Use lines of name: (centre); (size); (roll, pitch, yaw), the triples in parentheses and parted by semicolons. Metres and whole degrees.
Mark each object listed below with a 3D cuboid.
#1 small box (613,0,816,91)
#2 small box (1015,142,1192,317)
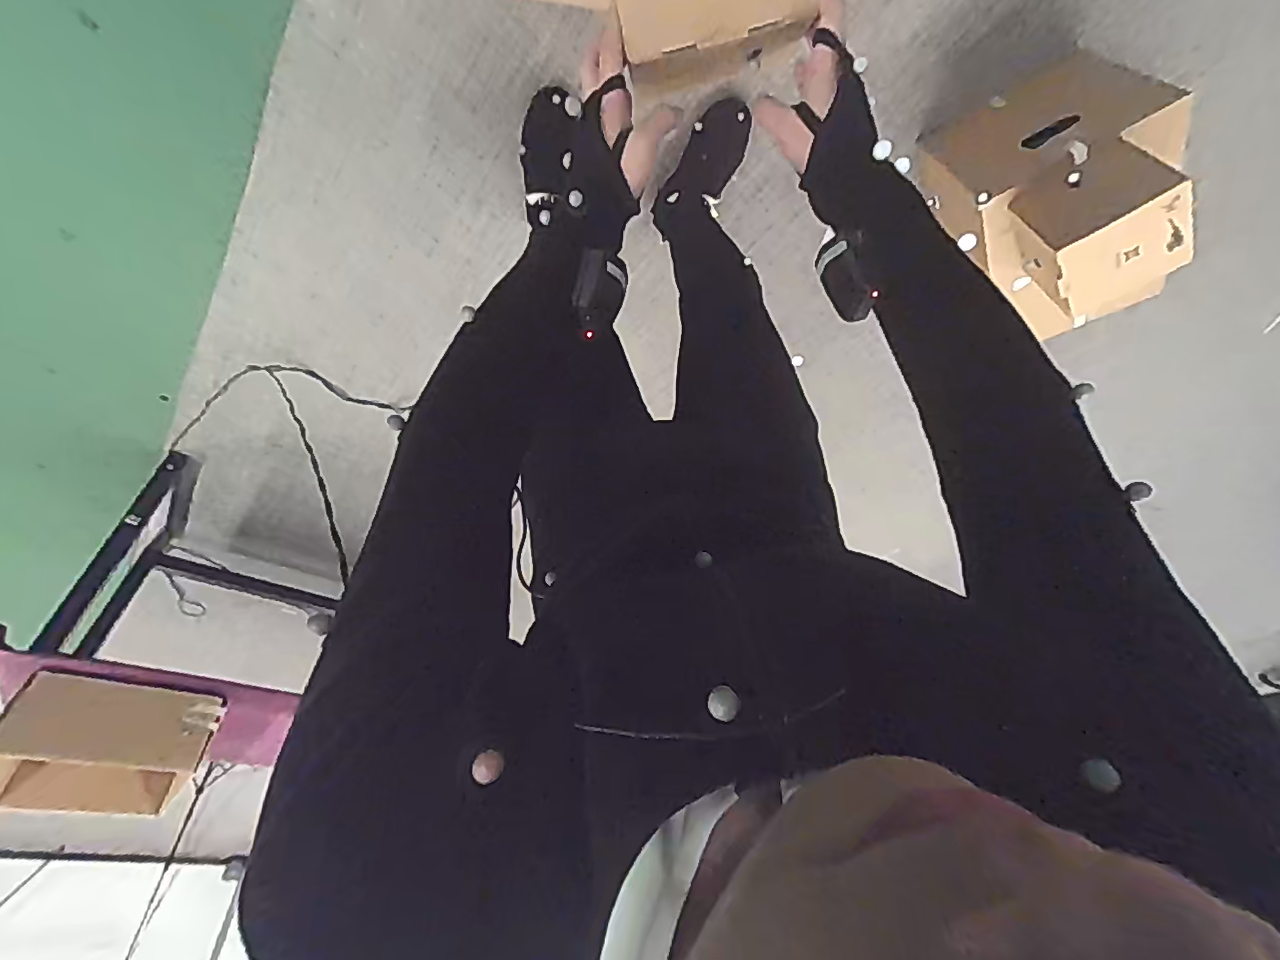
small box: (0.054, -0.480, 0.489); (0.168, 0.176, 0.179); (-9, 114, 7)
small box: (0.770, -0.421, 0.914); (0.179, 0.176, 0.168); (-28, 133, 28)
